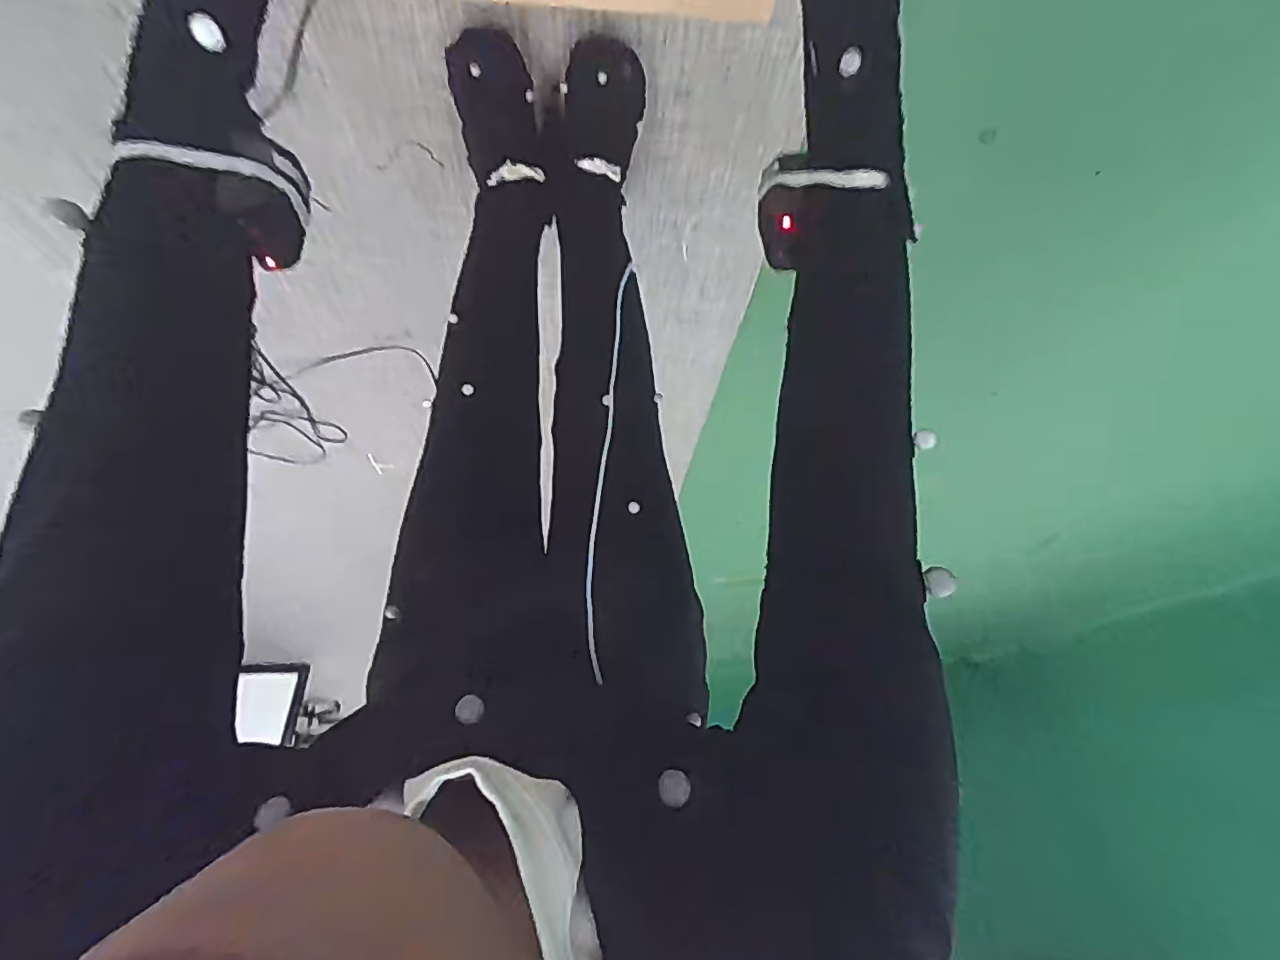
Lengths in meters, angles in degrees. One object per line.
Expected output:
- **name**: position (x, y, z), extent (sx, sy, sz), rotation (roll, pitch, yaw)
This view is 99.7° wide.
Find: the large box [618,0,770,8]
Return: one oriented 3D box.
- **large box**: position (-0.079, -0.621, 0.406), extent (0.408, 0.320, 0.320), rotation (-1, 151, -6)
